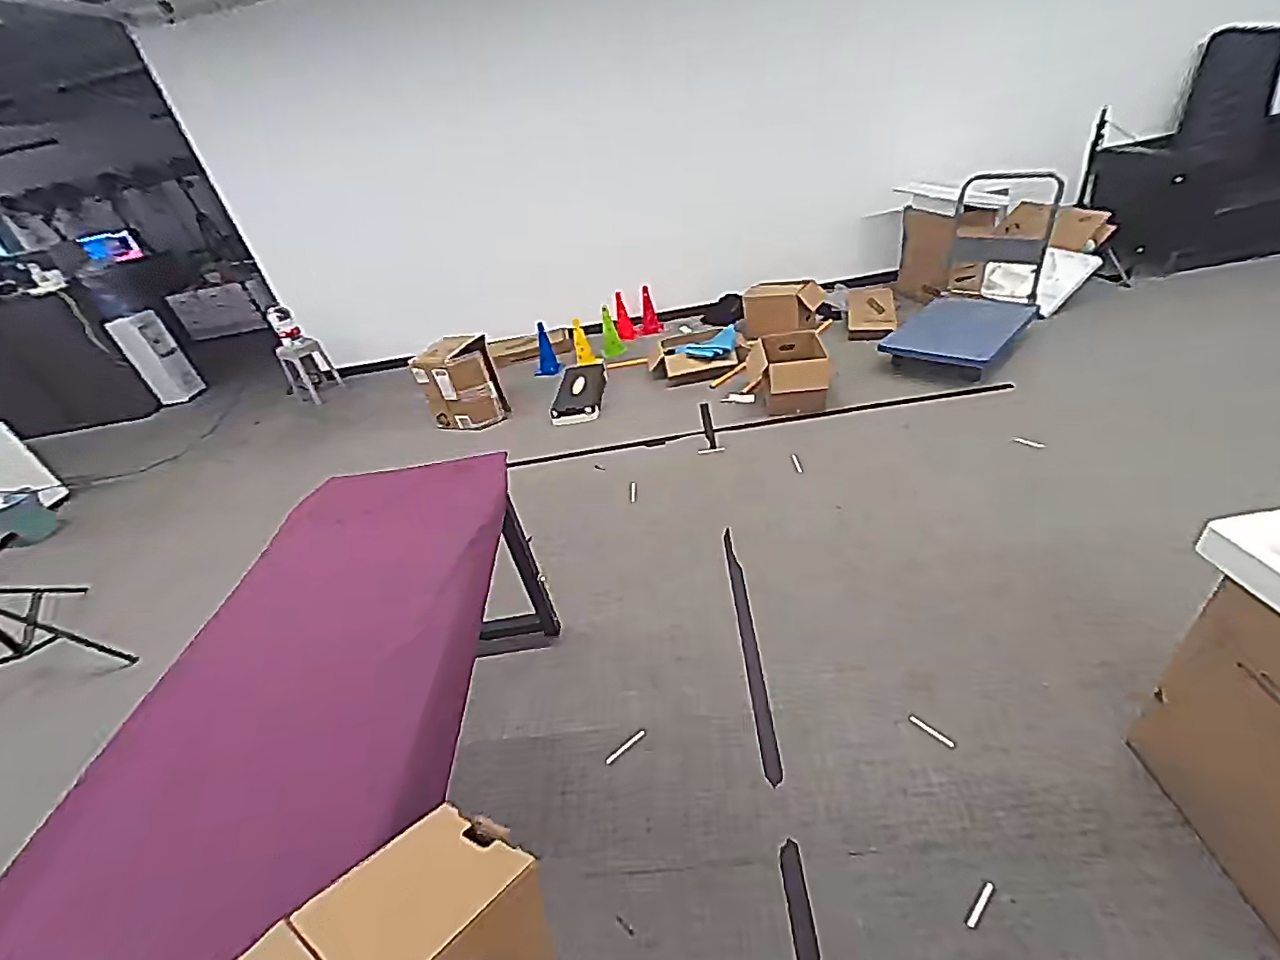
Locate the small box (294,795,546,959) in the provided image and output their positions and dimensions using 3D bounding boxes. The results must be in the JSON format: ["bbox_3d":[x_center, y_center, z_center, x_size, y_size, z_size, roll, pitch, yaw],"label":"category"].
[{"bbox_3d":[-0.210,0.476,0.548,0.168,0.176,0.179,2,11,38],"label":"small box"}]
